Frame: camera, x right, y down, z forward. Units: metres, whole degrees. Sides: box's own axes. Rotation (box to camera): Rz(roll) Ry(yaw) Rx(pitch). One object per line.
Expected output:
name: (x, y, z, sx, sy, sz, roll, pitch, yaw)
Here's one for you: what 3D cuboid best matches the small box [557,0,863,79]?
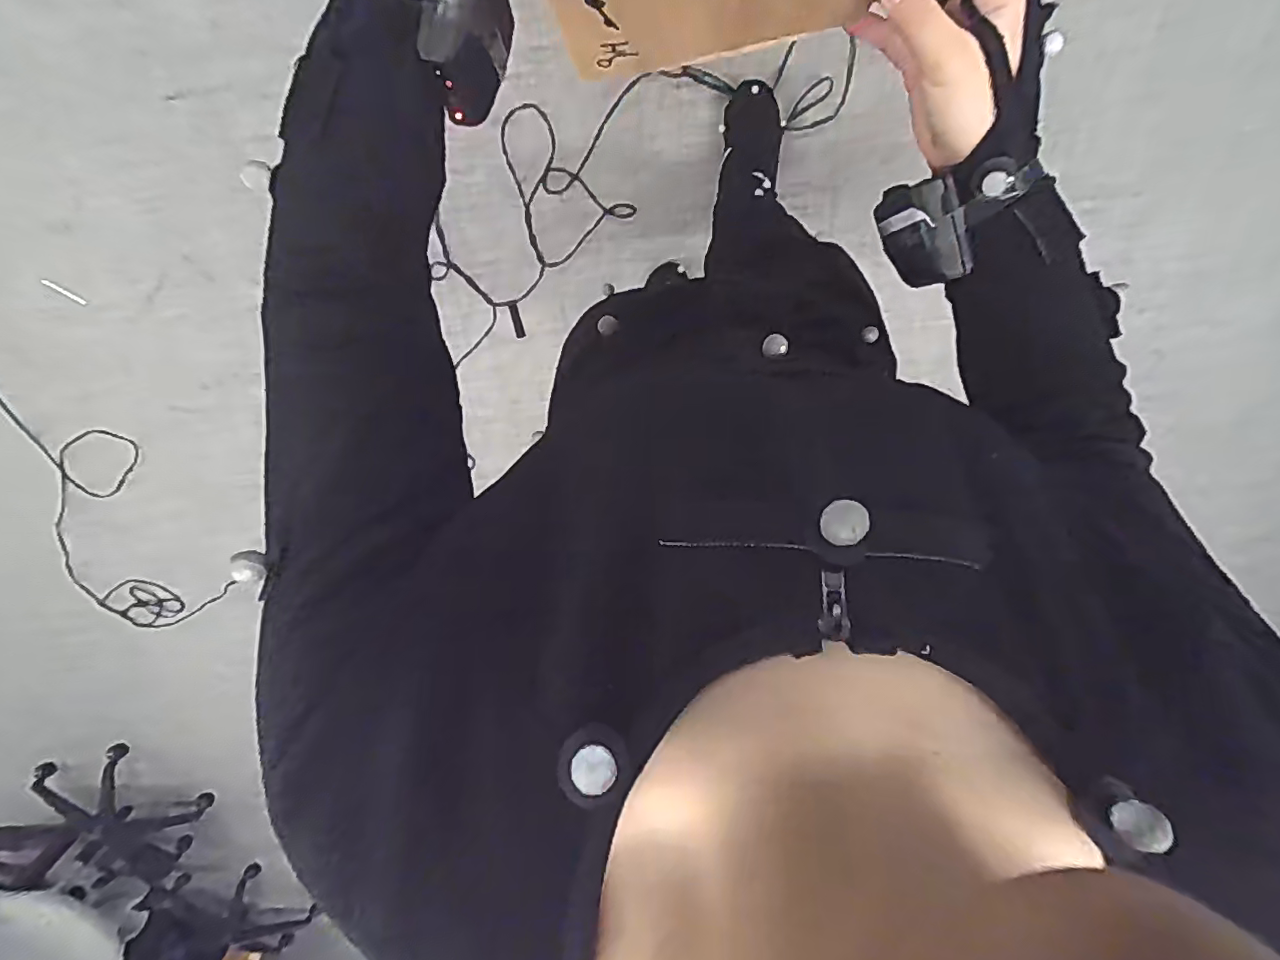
small box: (0.028, -0.328, 0.238, 0.179, 0.168, 0.176, -9, 102, 6)
